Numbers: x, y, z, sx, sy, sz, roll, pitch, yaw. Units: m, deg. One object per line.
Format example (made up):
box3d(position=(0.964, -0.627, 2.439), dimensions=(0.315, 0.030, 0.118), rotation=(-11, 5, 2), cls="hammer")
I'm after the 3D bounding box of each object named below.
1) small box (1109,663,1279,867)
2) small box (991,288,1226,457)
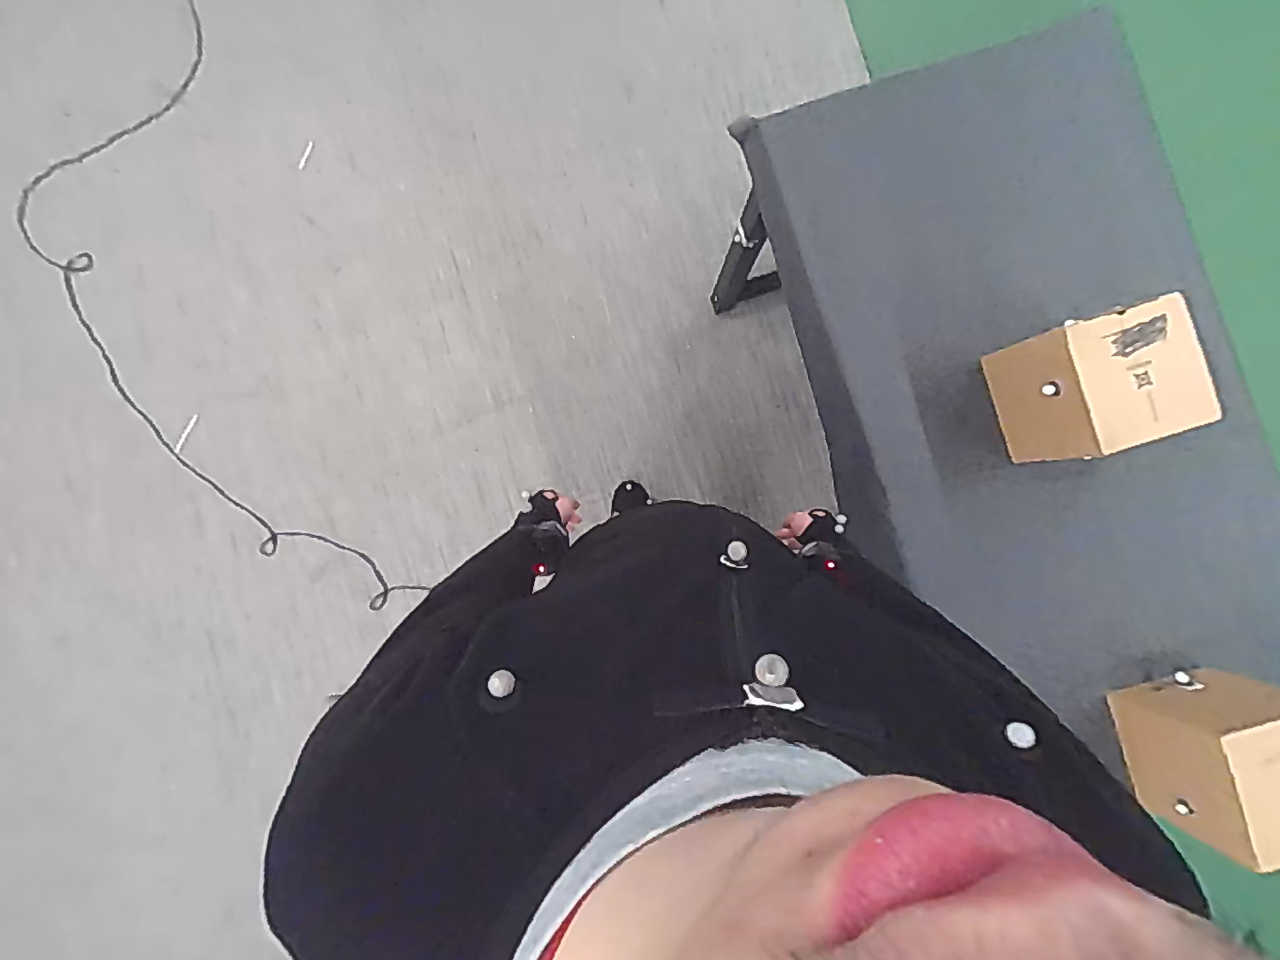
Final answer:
box3d(position=(0.821, 0.381, 0.754), dimensions=(0.168, 0.176, 0.179), rotation=(-15, 88, -1), cls="small box")
box3d(position=(0.641, -0.140, 0.764), dimensions=(0.168, 0.176, 0.179), rotation=(-17, 90, 0), cls="small box")
